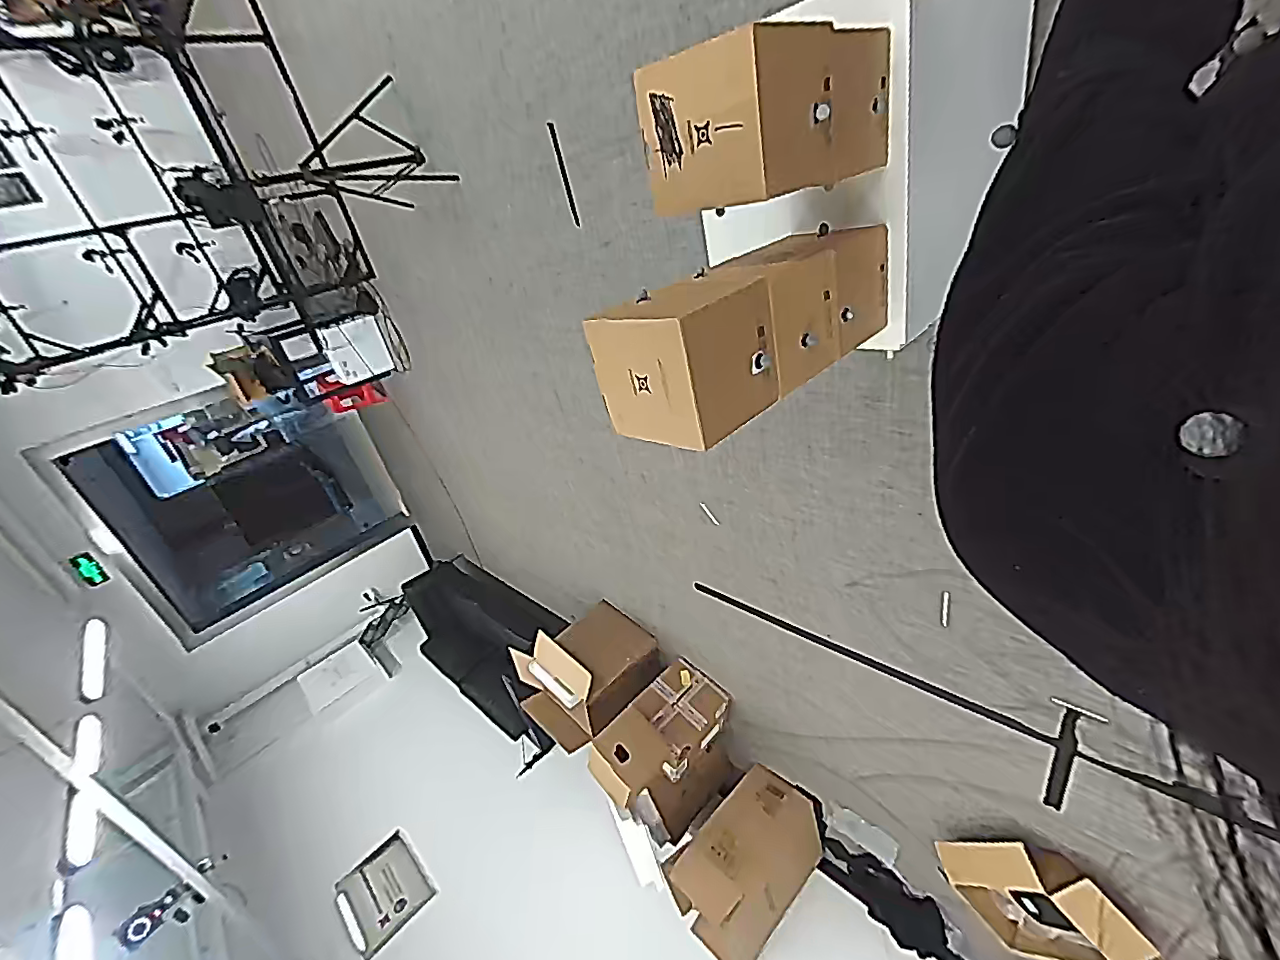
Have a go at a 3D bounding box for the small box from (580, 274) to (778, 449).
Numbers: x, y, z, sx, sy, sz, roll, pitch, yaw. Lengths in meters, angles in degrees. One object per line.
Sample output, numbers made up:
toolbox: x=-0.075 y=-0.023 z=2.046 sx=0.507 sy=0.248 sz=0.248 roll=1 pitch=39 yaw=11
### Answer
small box: x=0.055 y=-0.161 z=0.711 sx=0.179 sy=0.176 sz=0.168 roll=15 pitch=131 yaw=45

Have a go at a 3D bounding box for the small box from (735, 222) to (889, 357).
small box: x=0.283 y=-0.313 z=0.887 sx=0.179 sy=0.176 sz=0.168 roll=18 pitch=132 yaw=45

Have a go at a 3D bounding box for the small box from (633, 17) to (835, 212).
small box: x=0.121 y=-0.446 z=0.674 sx=0.179 sy=0.176 sz=0.168 roll=18 pitch=132 yaw=42

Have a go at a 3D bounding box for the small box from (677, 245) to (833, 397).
small box: x=0.170 y=-0.236 z=0.798 sx=0.179 sy=0.176 sz=0.168 roll=16 pitch=131 yaw=45
